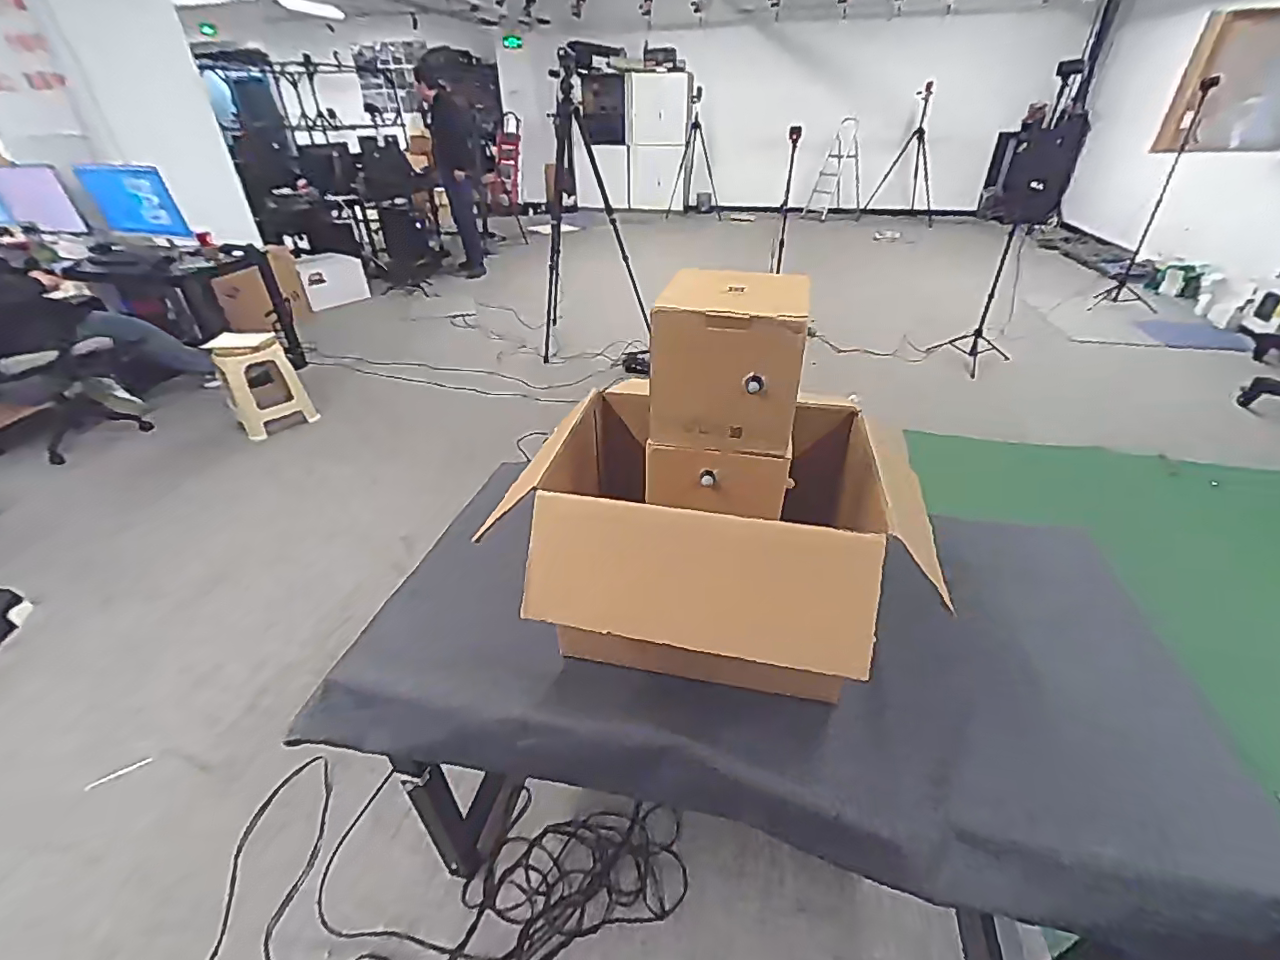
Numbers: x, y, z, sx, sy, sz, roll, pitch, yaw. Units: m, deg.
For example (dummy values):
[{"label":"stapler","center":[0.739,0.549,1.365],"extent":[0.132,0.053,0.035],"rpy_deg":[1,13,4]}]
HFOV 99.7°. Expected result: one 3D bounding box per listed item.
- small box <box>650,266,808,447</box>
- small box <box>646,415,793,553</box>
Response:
[{"label":"small box","center":[0.111,-0.156,0.669],"extent":[0.168,0.176,0.179],"rpy_deg":[8,34,11]},{"label":"small box","center":[0.109,-0.018,0.753],"extent":[0.179,0.176,0.168],"rpy_deg":[7,35,10]}]
